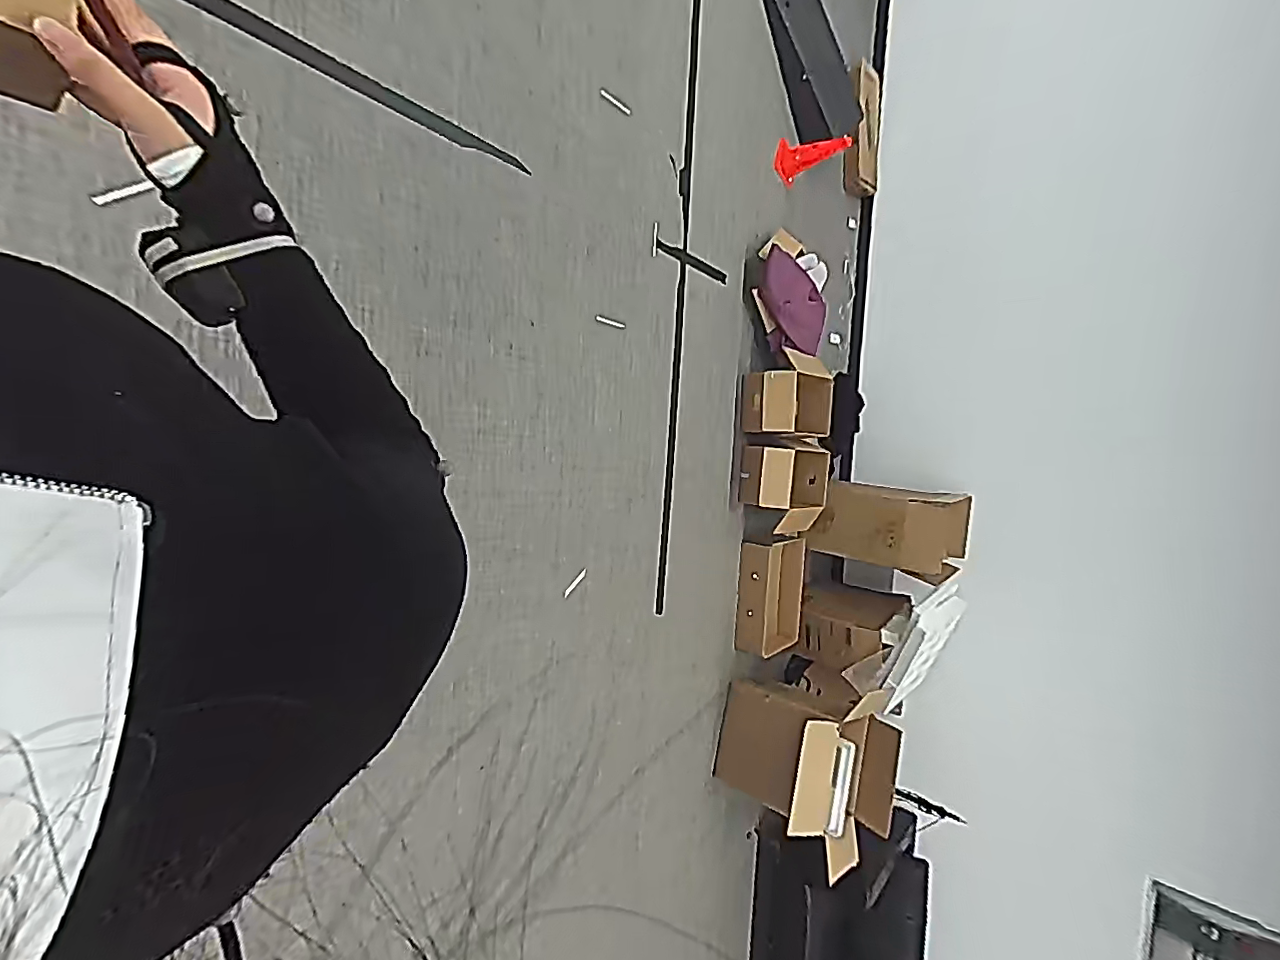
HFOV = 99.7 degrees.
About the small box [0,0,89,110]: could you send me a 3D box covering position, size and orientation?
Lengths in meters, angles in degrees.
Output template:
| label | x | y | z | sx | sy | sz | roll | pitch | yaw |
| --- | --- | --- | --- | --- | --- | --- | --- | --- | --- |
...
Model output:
| label | x | y | z | sx | sy | sz | roll | pitch | yaw |
| --- | --- | --- | --- | --- | --- | --- | --- | --- | --- |
| small box | -0.438 | -0.355 | 0.306 | 0.168 | 0.176 | 0.179 | -2 | 103 | -50 |
